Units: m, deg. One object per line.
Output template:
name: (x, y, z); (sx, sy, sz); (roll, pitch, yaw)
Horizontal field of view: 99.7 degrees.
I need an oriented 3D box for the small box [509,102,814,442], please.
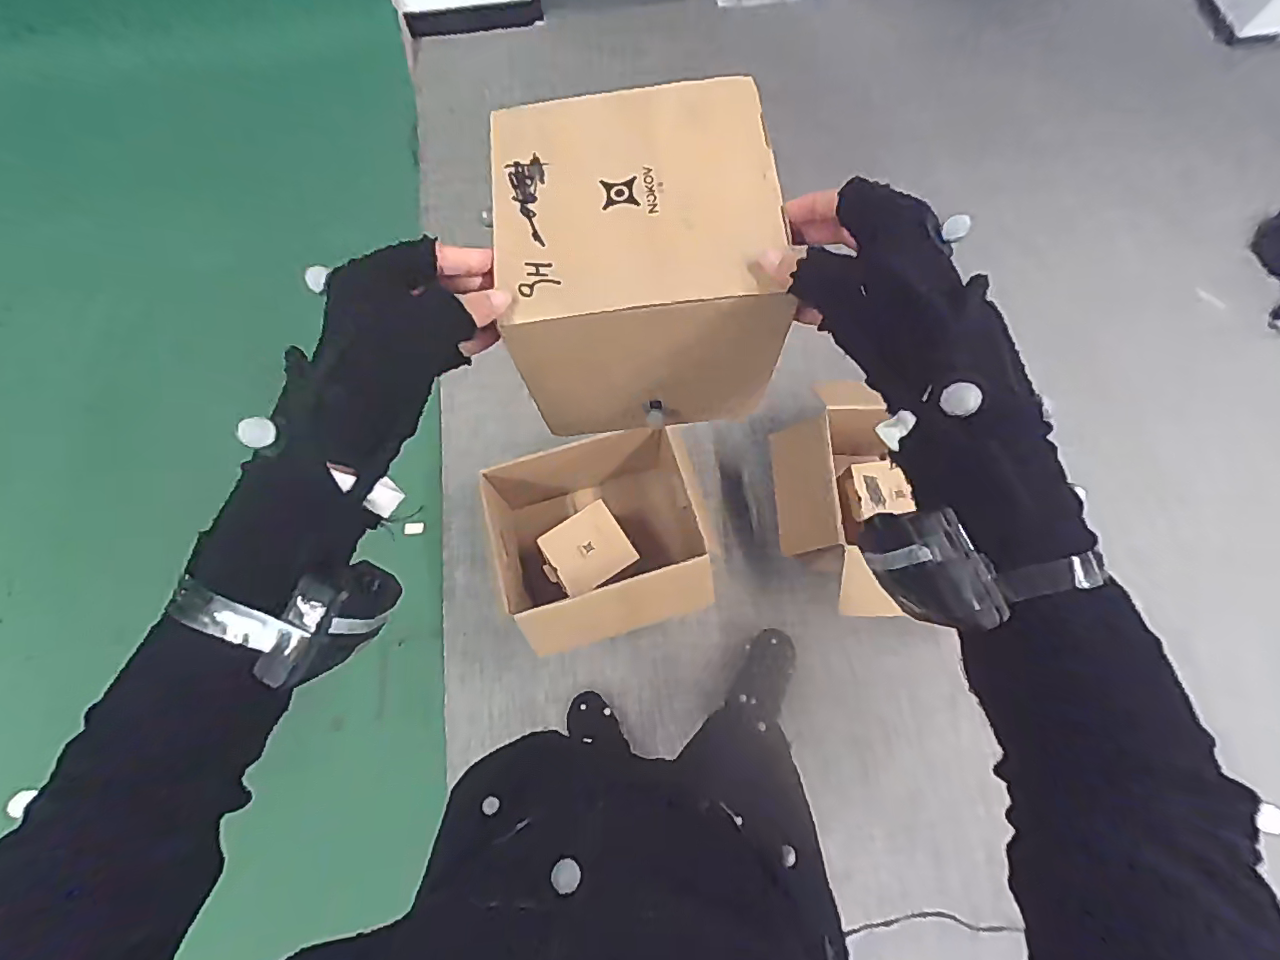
small box: (0.009, -0.140, 0.409); (0.179, 0.176, 0.168); (-6, 71, 0)
